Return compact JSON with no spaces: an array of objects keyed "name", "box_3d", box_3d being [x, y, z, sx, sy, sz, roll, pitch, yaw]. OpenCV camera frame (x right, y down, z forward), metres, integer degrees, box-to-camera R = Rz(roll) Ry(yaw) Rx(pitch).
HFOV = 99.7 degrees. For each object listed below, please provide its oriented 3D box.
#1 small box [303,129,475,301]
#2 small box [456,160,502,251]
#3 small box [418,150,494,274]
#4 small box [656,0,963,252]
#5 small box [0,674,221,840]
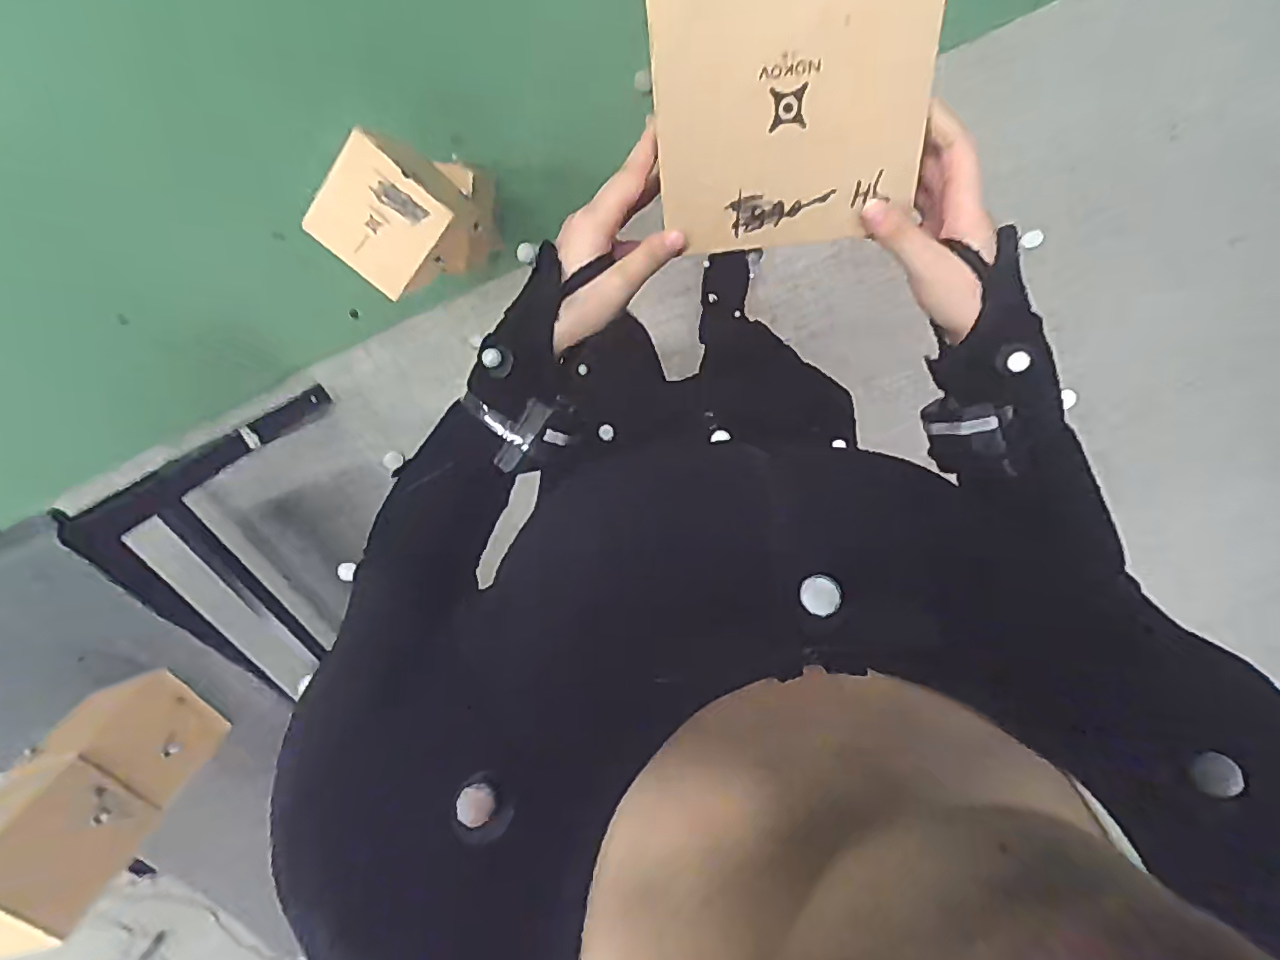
[{"name":"small box","box_3d":[-0.390,-0.427,0.875,0.168,0.176,0.179,39,112,-20]},{"name":"small box","box_3d":[-0.411,-0.578,1.164,0.168,0.176,0.179,-6,118,3]},{"name":"small box","box_3d":[-0.381,-0.508,1.018,0.168,0.176,0.179,12,117,-7]},{"name":"small box","box_3d":[0.100,-0.278,0.384,0.168,0.176,0.179,-5,124,5]},{"name":"small box","box_3d":[-0.850,0.451,0.894,0.179,0.176,0.168,-20,116,13]}]
